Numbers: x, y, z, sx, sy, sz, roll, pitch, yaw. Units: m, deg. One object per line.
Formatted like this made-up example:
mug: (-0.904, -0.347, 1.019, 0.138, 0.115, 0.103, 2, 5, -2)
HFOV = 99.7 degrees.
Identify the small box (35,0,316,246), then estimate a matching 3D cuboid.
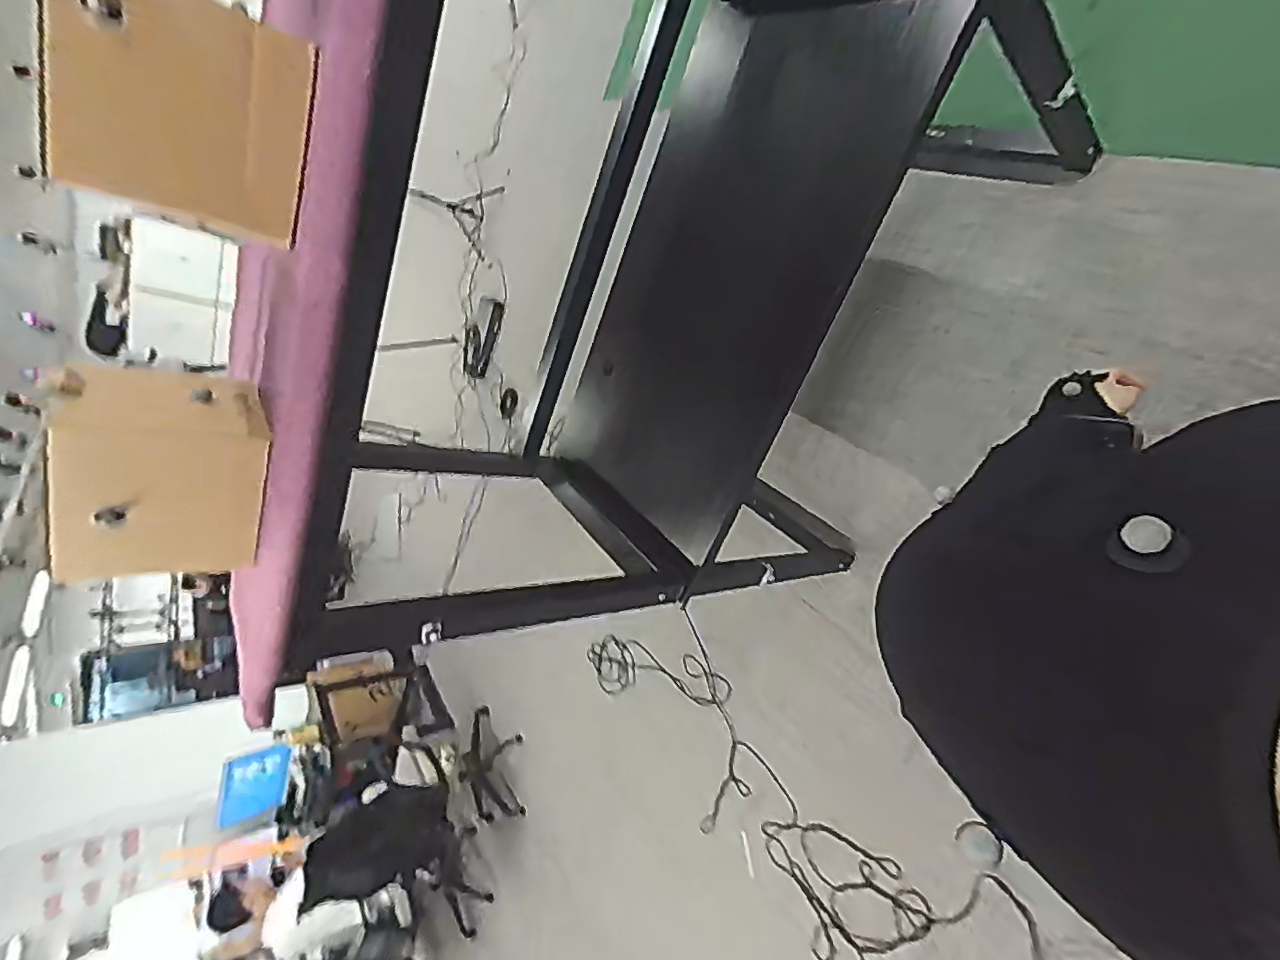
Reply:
small box: (-0.409, -0.338, 0.497, 0.168, 0.176, 0.179, 42, 118, 43)

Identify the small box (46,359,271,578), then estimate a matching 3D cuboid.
small box: (-0.528, -0.013, 0.607, 0.168, 0.176, 0.179, 40, 116, 40)
